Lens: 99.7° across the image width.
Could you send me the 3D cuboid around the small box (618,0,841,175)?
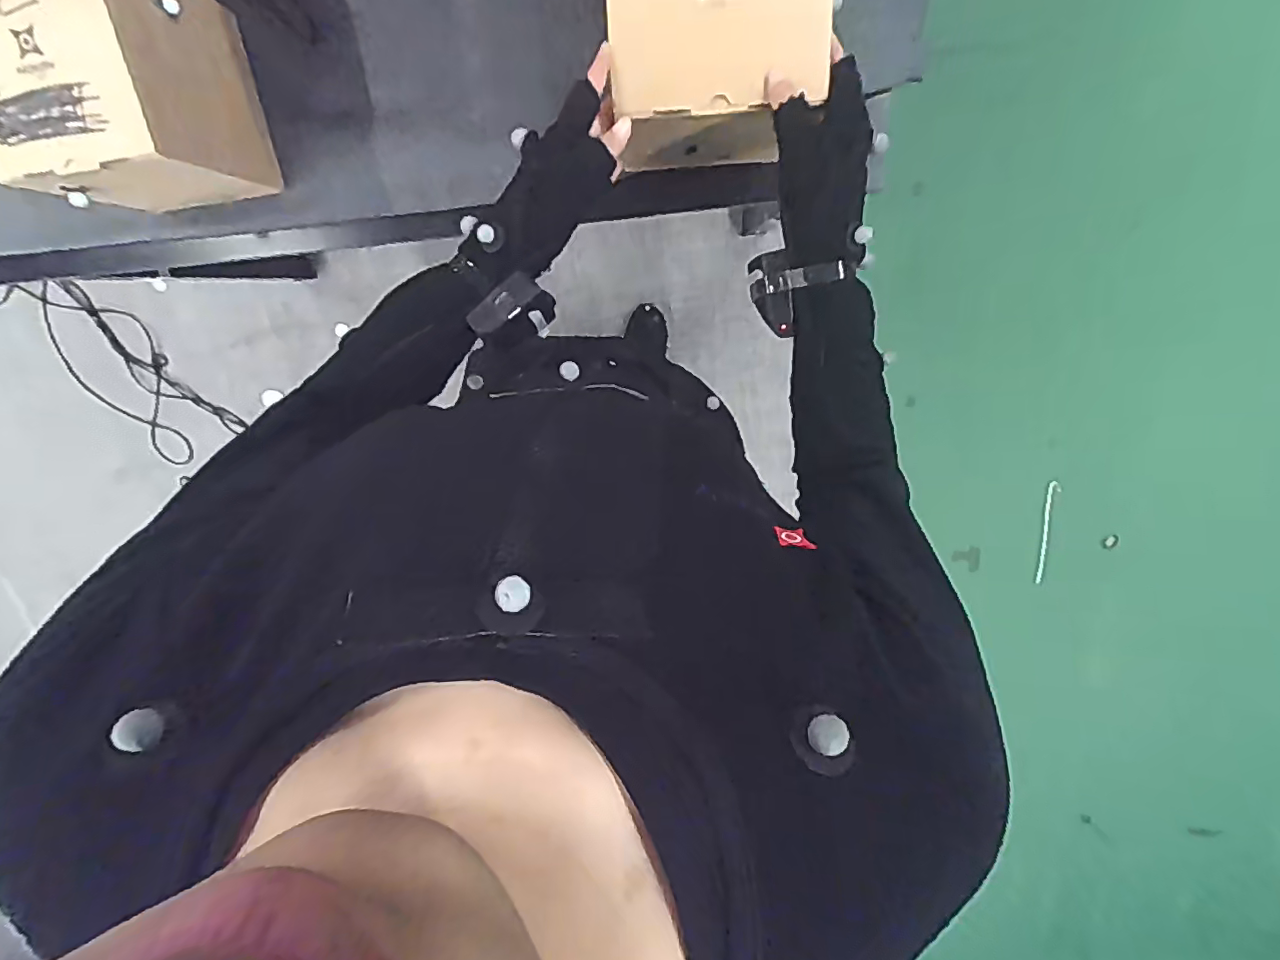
[{"bbox_3d":[0.066,-0.384,0.468,0.168,0.176,0.179,-2,108,2],"label":"small box"}]
